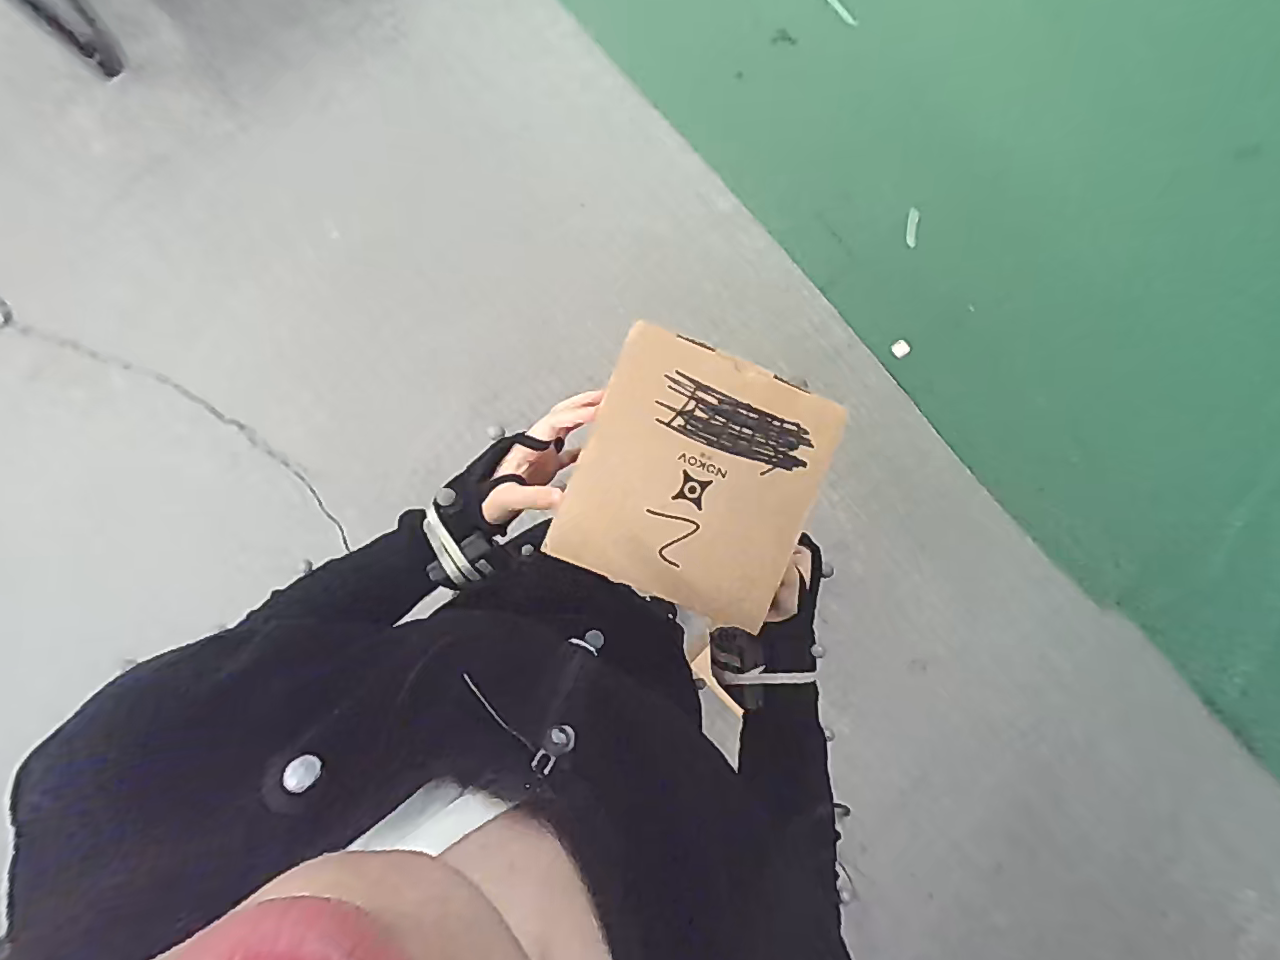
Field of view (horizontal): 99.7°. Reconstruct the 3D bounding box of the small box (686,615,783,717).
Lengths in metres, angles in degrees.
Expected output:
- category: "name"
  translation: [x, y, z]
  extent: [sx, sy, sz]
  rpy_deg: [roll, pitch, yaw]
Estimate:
- category: "small box"
  translation: [0.235, 0.469, 1.400]
  extent: [0.168, 0.176, 0.179]
  rpy_deg: [-45, 85, -3]
